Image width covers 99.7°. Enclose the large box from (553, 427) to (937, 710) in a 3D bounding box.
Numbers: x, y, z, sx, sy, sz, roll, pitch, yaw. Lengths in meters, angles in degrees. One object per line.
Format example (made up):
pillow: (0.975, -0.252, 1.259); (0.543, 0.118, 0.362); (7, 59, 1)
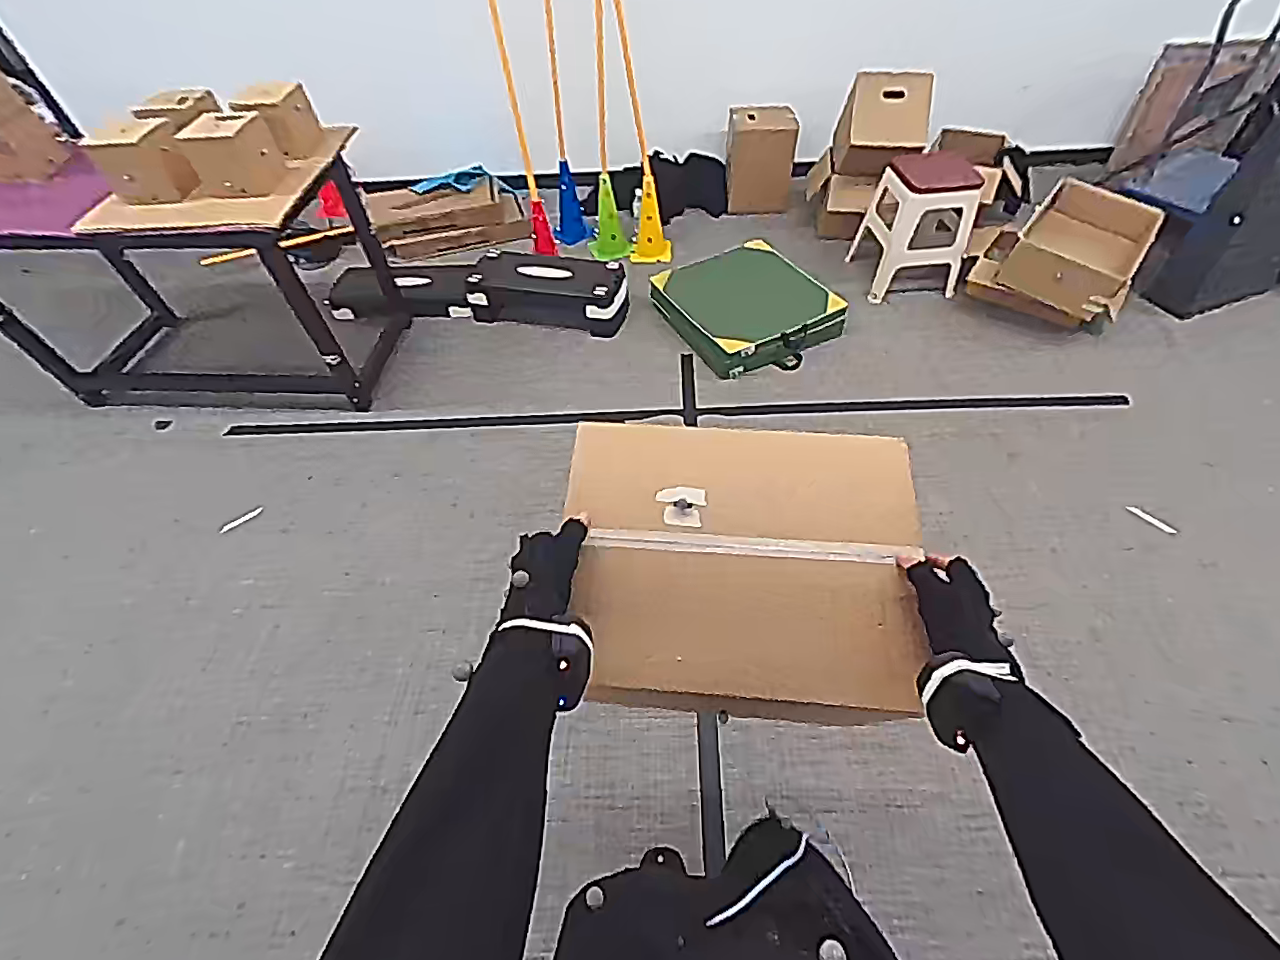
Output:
large box: (0.125, 0.140, 0.756); (0.408, 0.320, 0.320); (4, 64, 5)
